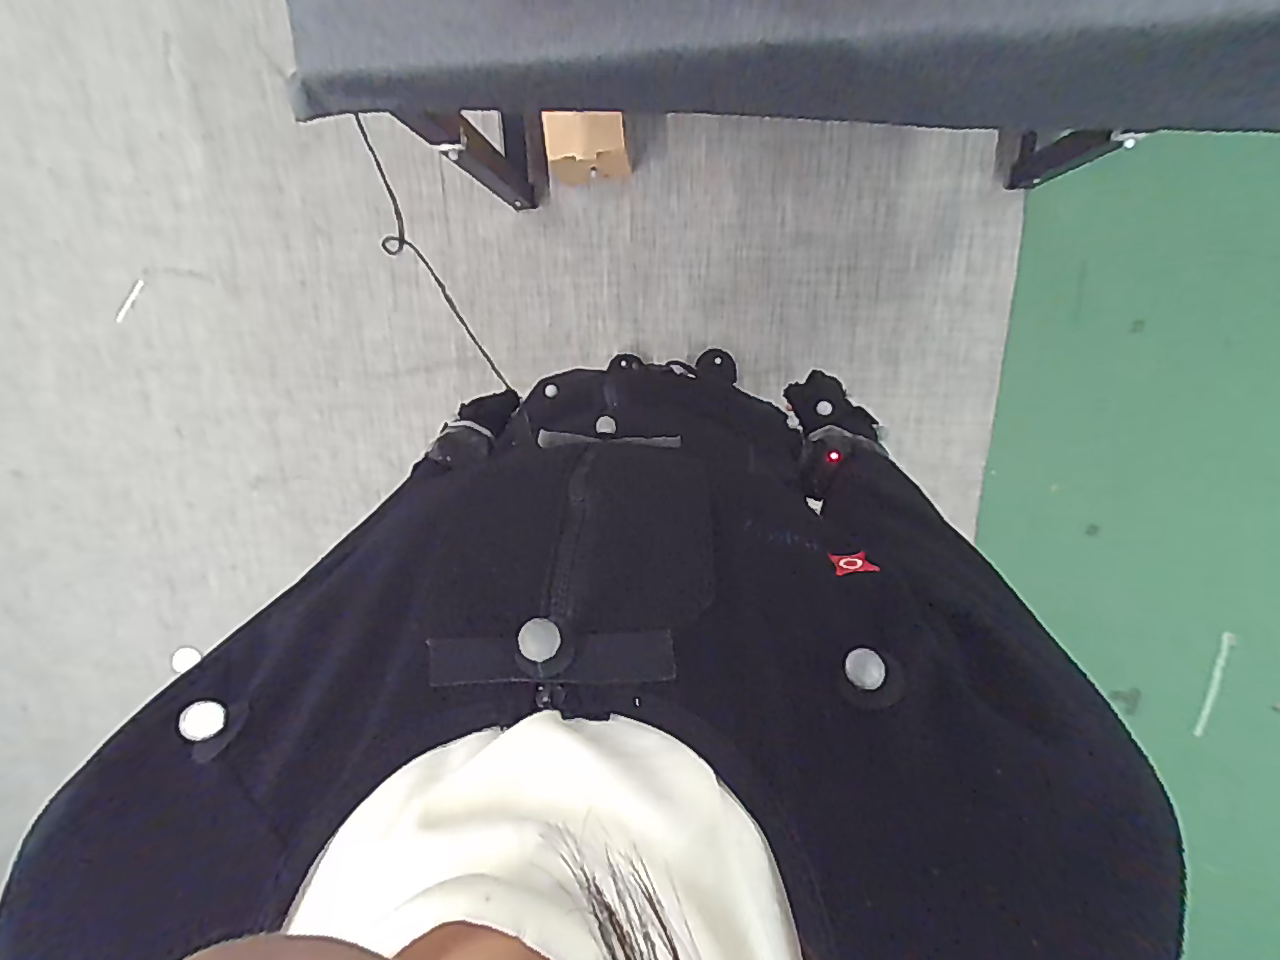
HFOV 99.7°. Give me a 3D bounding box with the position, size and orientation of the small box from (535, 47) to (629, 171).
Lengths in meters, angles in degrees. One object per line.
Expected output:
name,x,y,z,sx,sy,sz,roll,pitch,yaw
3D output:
small box,-0.116,-0.788,1.170,0.168,0.176,0.179,-4,105,5
